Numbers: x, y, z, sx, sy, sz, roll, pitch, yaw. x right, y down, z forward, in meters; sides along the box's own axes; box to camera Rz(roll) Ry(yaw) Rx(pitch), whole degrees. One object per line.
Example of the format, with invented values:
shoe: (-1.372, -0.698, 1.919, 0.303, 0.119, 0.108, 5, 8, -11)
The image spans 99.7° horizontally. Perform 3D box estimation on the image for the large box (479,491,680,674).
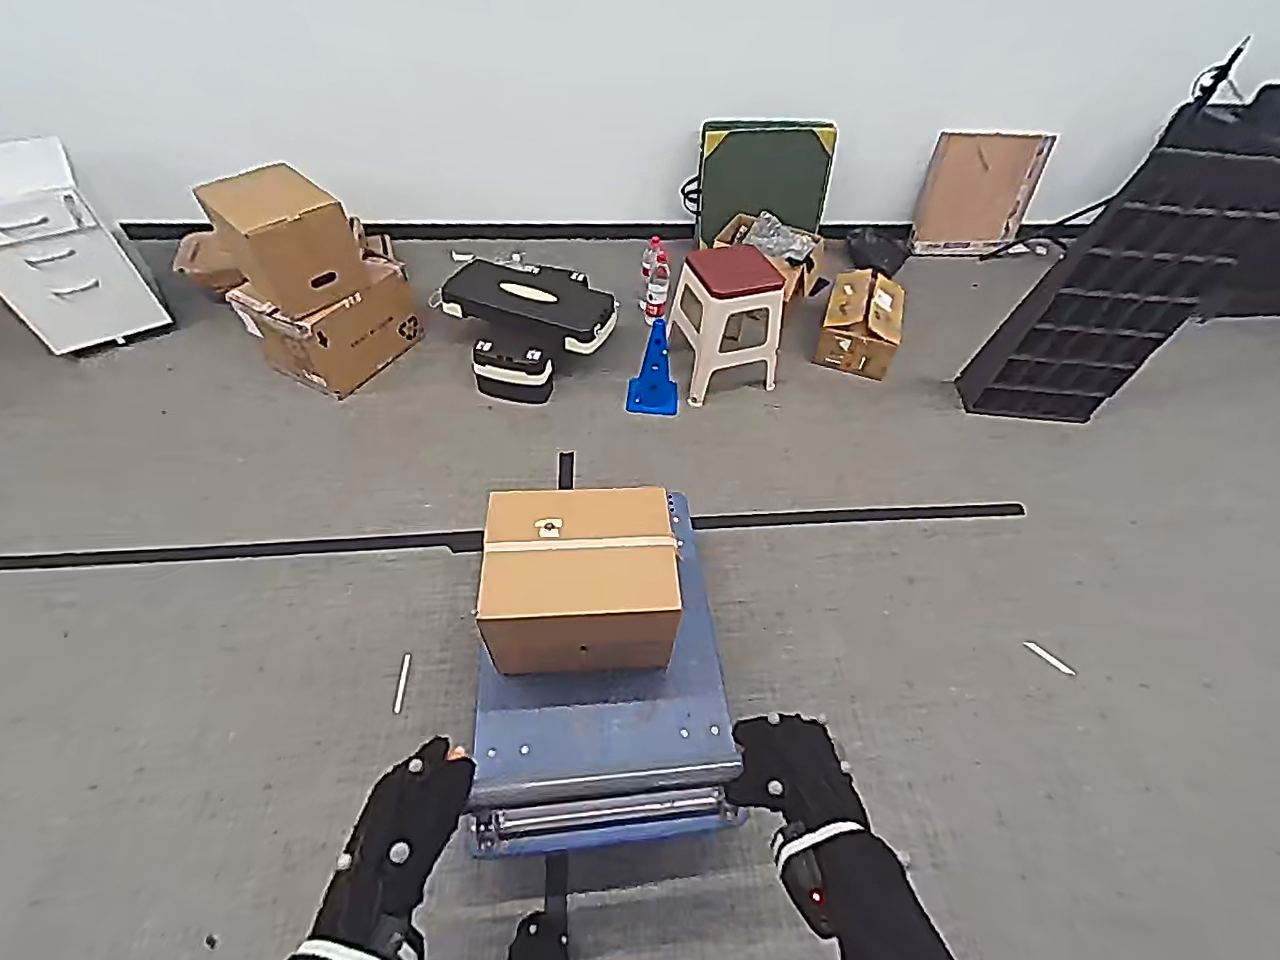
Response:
large box: (-0.134, 0.245, 1.275, 0.408, 0.320, 0.320, -2, 51, -4)
